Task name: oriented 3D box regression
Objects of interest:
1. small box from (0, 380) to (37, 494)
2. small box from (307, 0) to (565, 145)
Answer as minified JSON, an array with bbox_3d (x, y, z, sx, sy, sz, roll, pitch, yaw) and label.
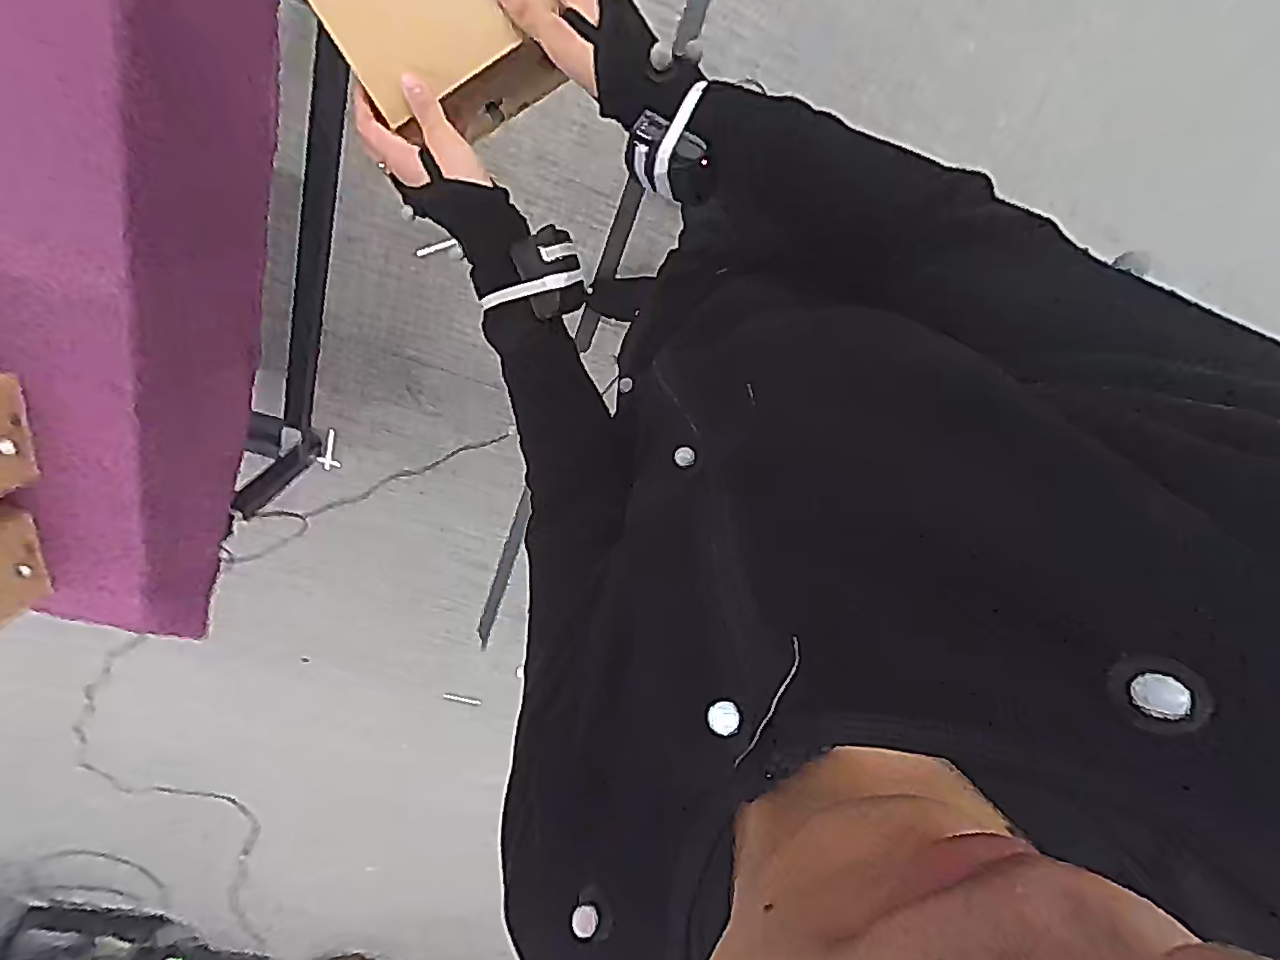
[{"bbox_3d":[-0.982,-0.050,0.713,0.179,0.176,0.168,12,116,-11],"label":"small box"},{"bbox_3d":[-0.172,-0.408,0.447,0.168,0.176,0.179,-29,112,6],"label":"small box"}]
